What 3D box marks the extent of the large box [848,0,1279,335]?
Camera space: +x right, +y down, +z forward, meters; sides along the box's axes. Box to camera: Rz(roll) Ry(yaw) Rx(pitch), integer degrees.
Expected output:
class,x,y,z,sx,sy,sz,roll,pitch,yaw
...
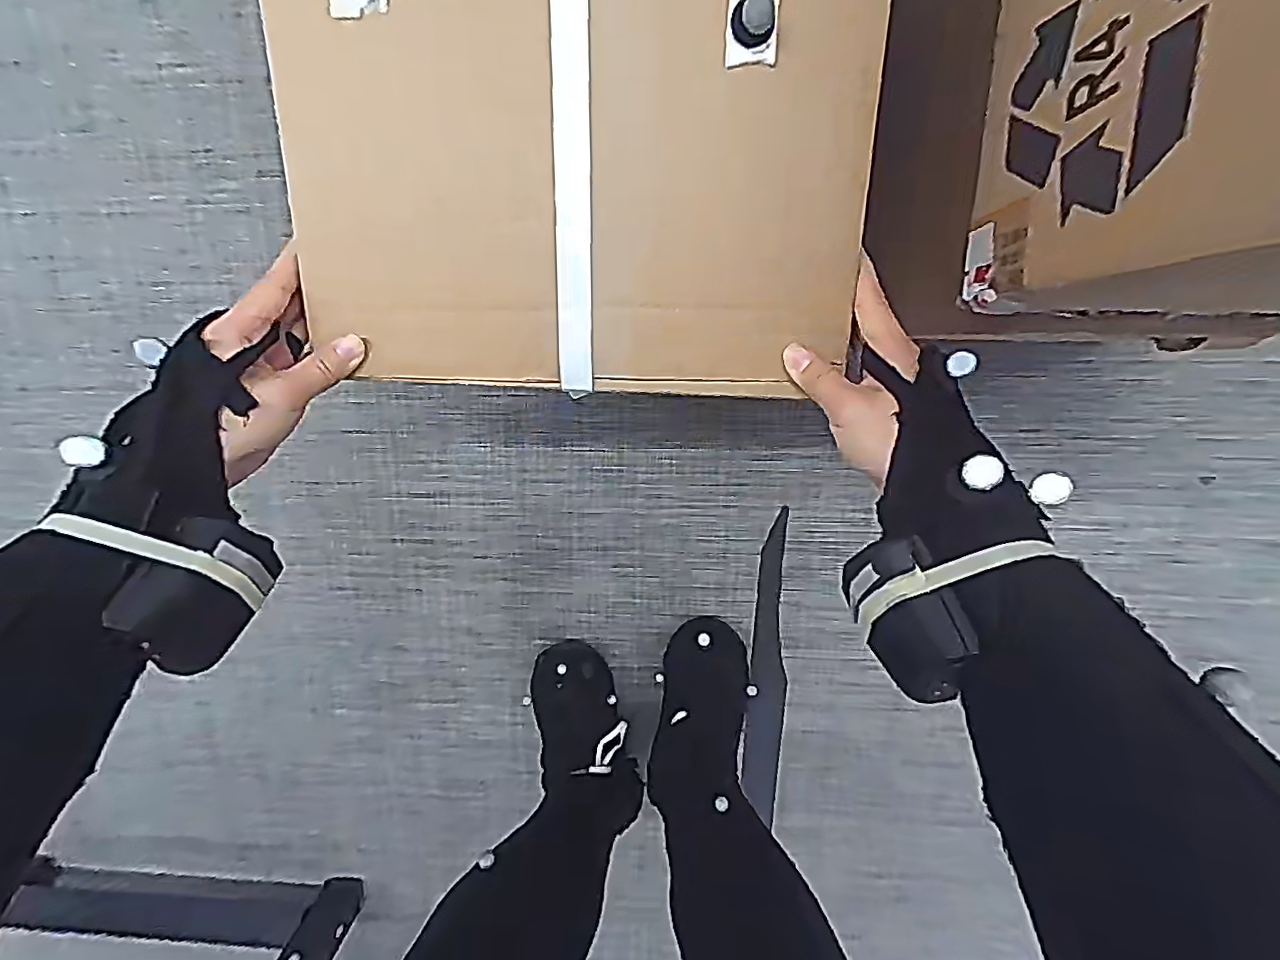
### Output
class,x,y,z,sx,sy,sz,roll,pitch,yaw
large box,0.373,-0.324,0.412,0.320,0.320,0.408,0,105,3
